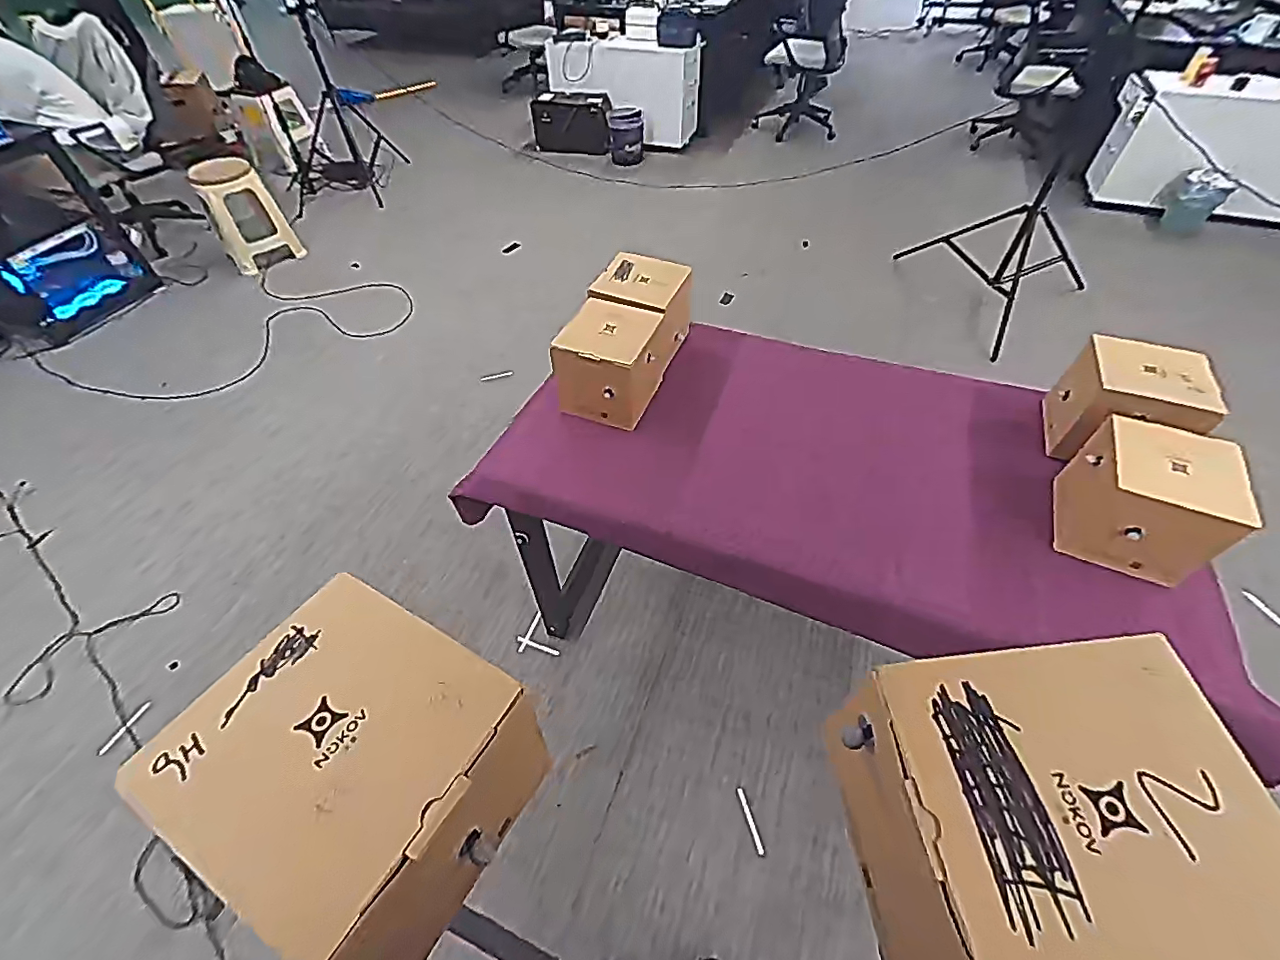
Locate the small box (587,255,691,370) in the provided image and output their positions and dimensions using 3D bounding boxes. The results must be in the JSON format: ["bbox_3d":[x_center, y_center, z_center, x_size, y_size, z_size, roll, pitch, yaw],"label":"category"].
[{"bbox_3d":[0.001,-0.367,1.197,0.179,0.176,0.168,19,55,15],"label":"small box"}]

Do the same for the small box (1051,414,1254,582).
[{"bbox_3d":[0.784,0.030,0.851,0.168,0.176,0.179,20,52,18],"label":"small box"}]

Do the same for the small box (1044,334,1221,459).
[{"bbox_3d":[0.866,-0.133,0.979,0.179,0.176,0.168,17,53,15],"label":"small box"}]

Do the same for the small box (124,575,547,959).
[{"bbox_3d":[-0.184,0.207,0.388,0.179,0.176,0.168,24,52,18],"label":"small box"}]
